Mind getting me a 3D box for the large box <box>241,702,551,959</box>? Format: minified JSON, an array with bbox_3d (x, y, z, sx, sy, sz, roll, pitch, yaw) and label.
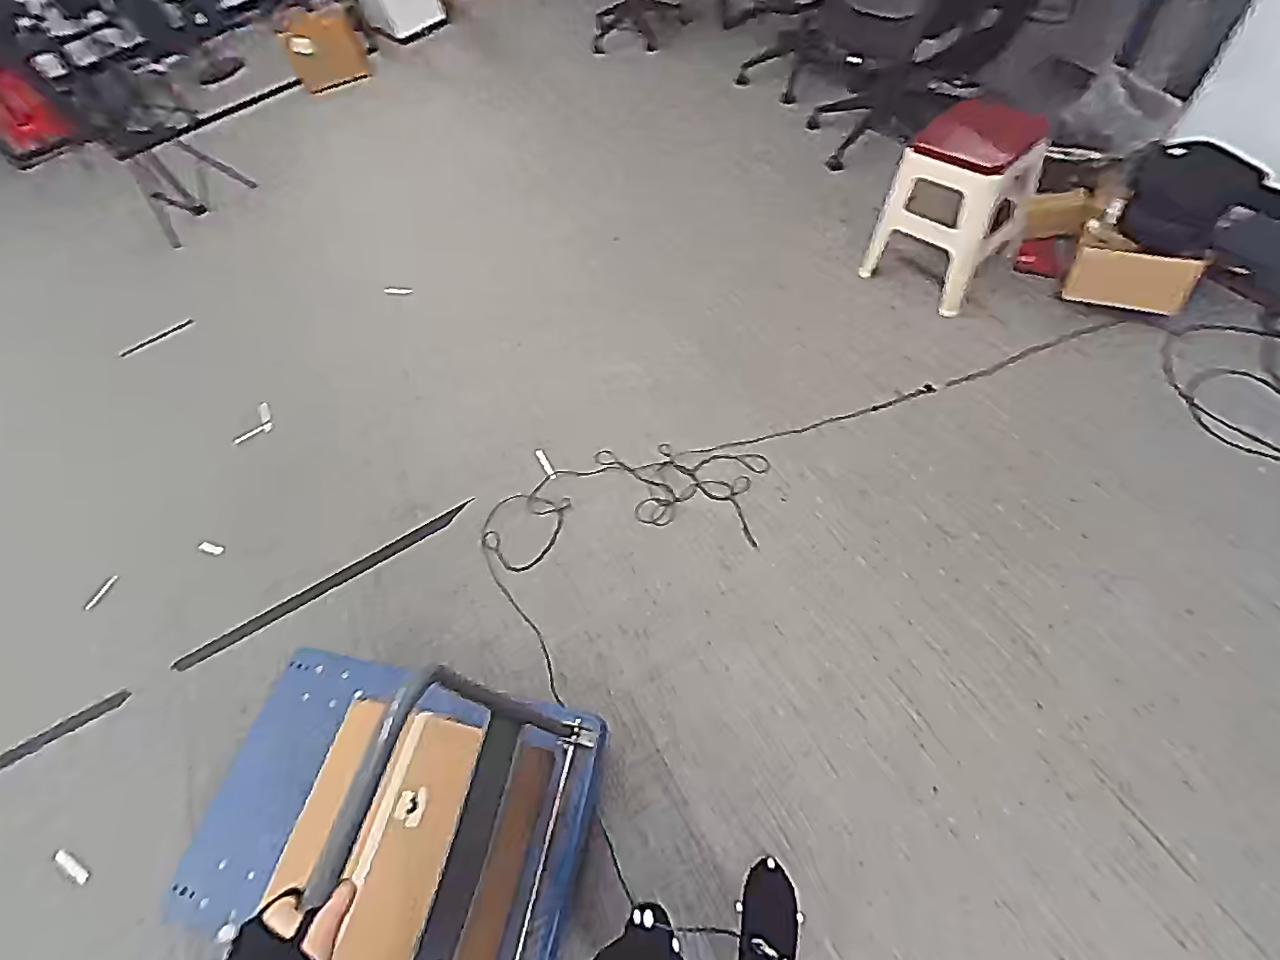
[{"bbox_3d":[-0.403,0.678,1.003,0.320,0.320,0.408,7,60,14],"label":"large box"}]
